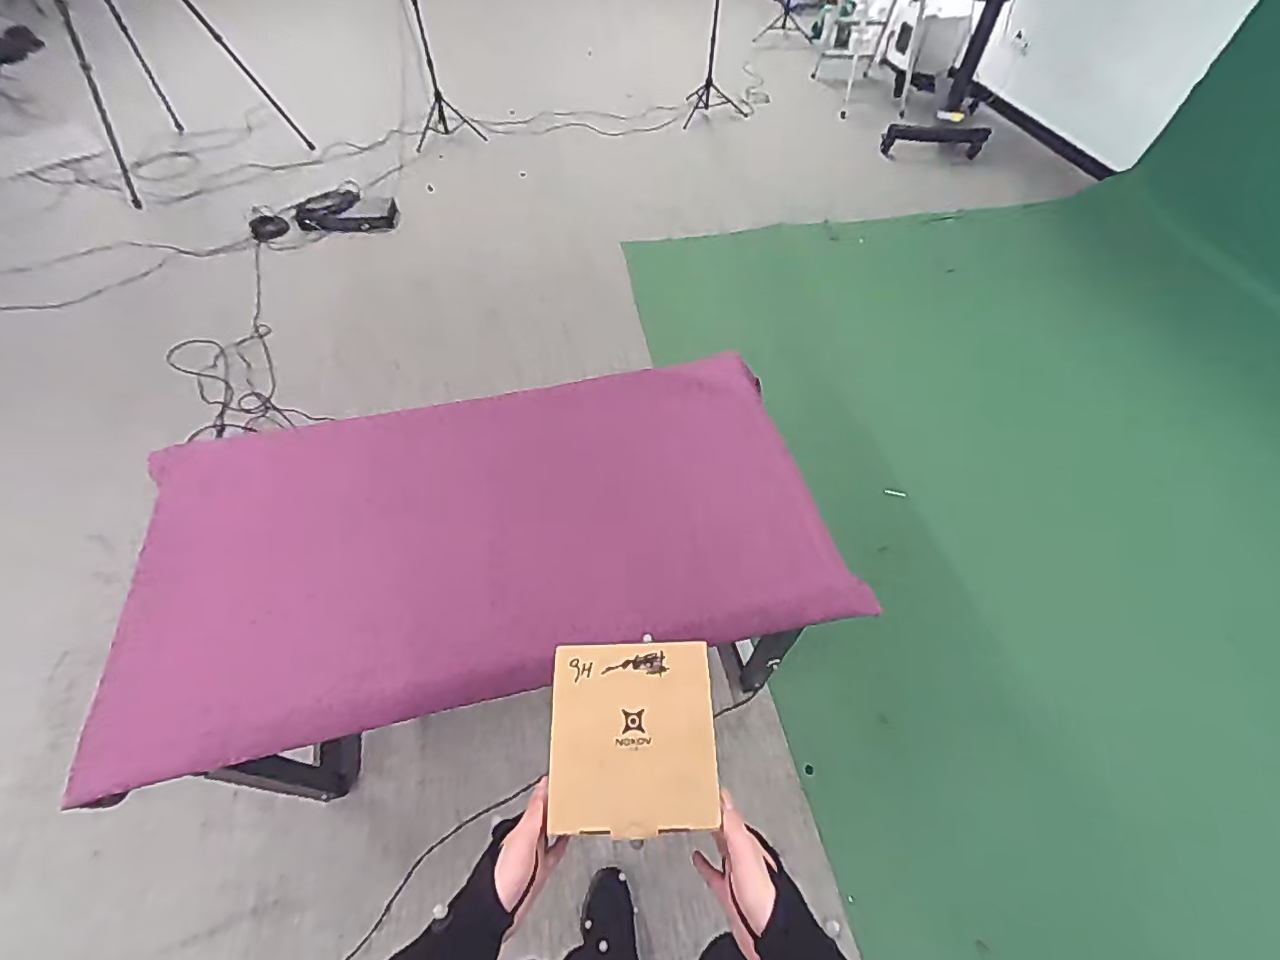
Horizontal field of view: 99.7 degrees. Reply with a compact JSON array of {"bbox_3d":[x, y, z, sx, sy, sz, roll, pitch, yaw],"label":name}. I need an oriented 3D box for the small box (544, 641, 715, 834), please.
[{"bbox_3d":[-0.008,0.291,0.615,0.168,0.176,0.179,-1,60,0],"label":"small box"}]
